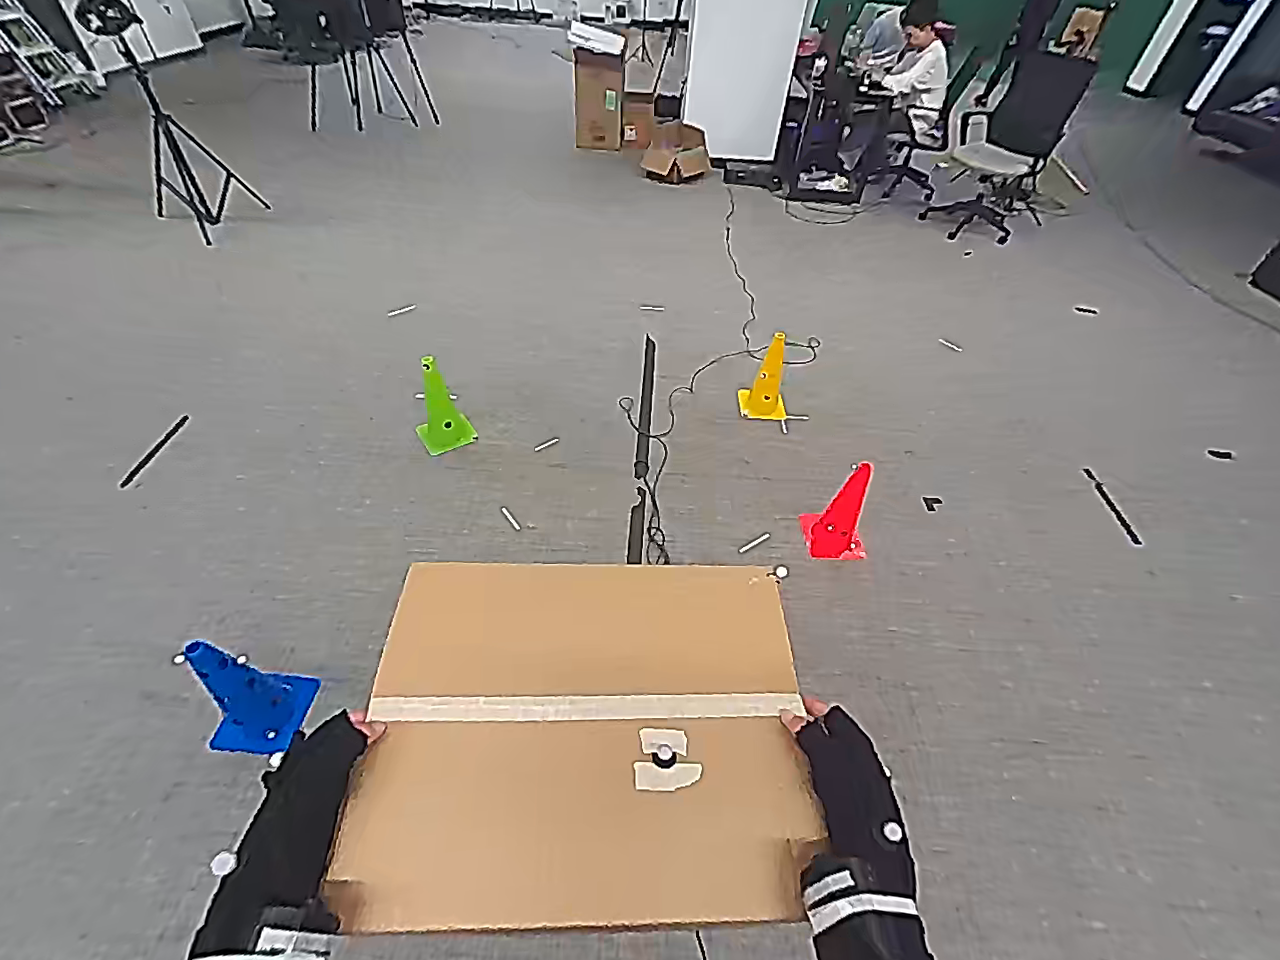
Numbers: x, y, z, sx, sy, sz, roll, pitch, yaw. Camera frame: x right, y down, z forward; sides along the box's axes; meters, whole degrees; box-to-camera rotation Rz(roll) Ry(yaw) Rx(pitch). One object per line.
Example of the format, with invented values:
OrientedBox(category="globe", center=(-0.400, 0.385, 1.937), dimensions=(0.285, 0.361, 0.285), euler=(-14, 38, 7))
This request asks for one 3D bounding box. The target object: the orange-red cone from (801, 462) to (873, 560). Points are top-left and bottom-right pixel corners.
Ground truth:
OrientedBox(category="orange-red cone", center=(0.692, 0.078, 1.799), dimensions=(0.198, 0.360, 0.199), euler=(3, 45, -3))

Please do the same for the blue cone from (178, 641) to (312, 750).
OrientedBox(category="blue cone", center=(-0.976, 0.491, 1.301), dimensions=(0.192, 0.380, 0.193), euler=(6, 46, 3))

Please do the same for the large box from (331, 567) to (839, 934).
OrientedBox(category="large box", center=(-0.052, 0.314, 0.625), dimensions=(0.408, 0.320, 0.320), euler=(2, 50, -4))

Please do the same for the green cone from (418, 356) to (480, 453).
OrientedBox(category="green cone", center=(-0.769, -0.316, 2.067), dimensions=(0.202, 0.368, 0.200), euler=(-26, 53, -24))
